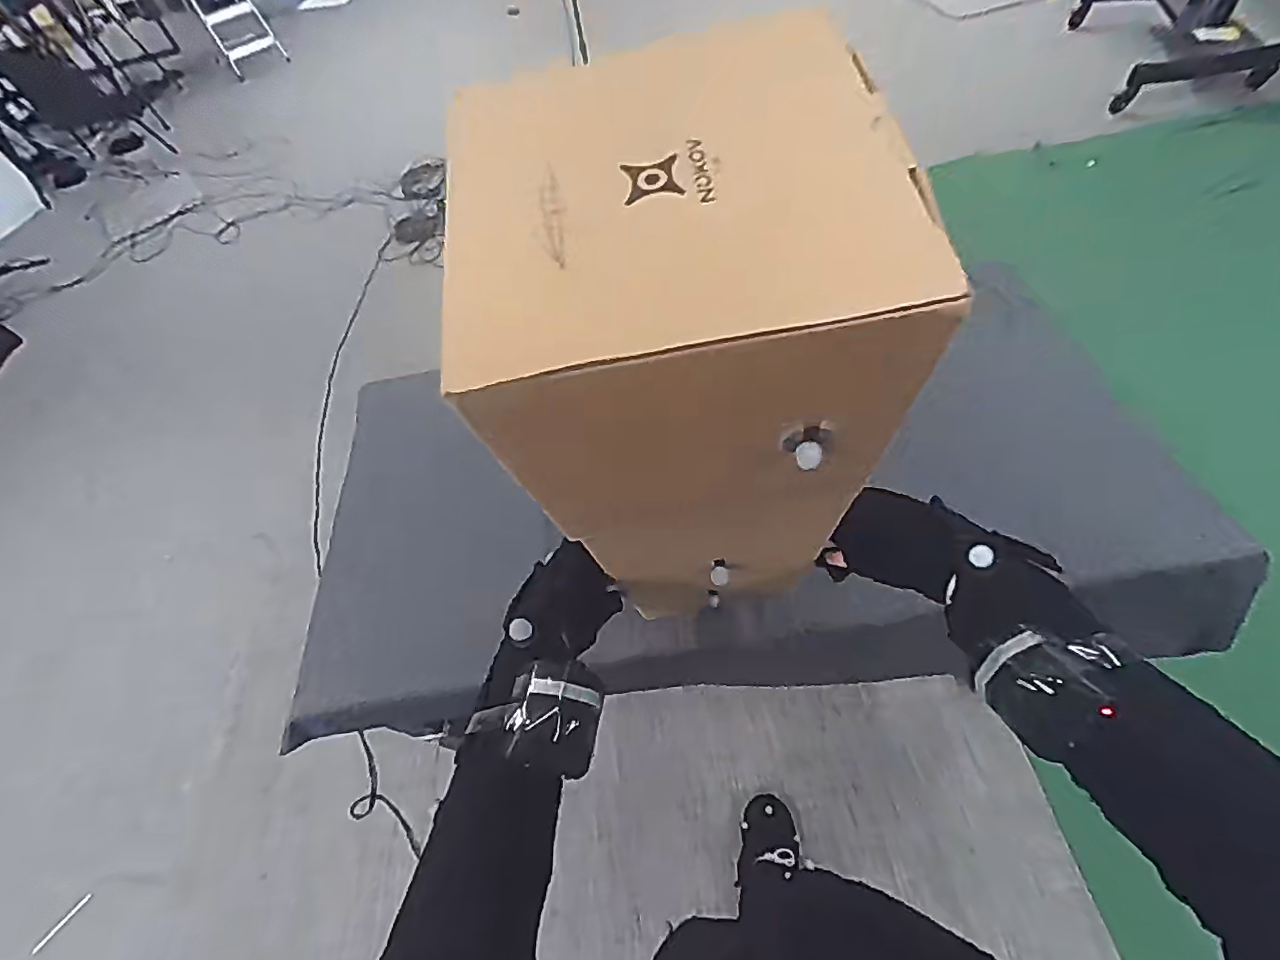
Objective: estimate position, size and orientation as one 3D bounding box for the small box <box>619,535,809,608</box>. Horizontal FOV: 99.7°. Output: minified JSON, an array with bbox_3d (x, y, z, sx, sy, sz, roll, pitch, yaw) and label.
[{"bbox_3d":[0.066,0.034,0.588,0.179,0.176,0.168,-12,66,5],"label":"small box"}]

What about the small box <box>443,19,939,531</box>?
[{"bbox_3d":[0.017,-0.085,0.289,0.179,0.176,0.168,-11,65,6],"label":"small box"}]

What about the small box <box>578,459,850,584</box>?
[{"bbox_3d":[0.042,-0.025,0.439,0.179,0.176,0.168,-13,66,4],"label":"small box"}]
